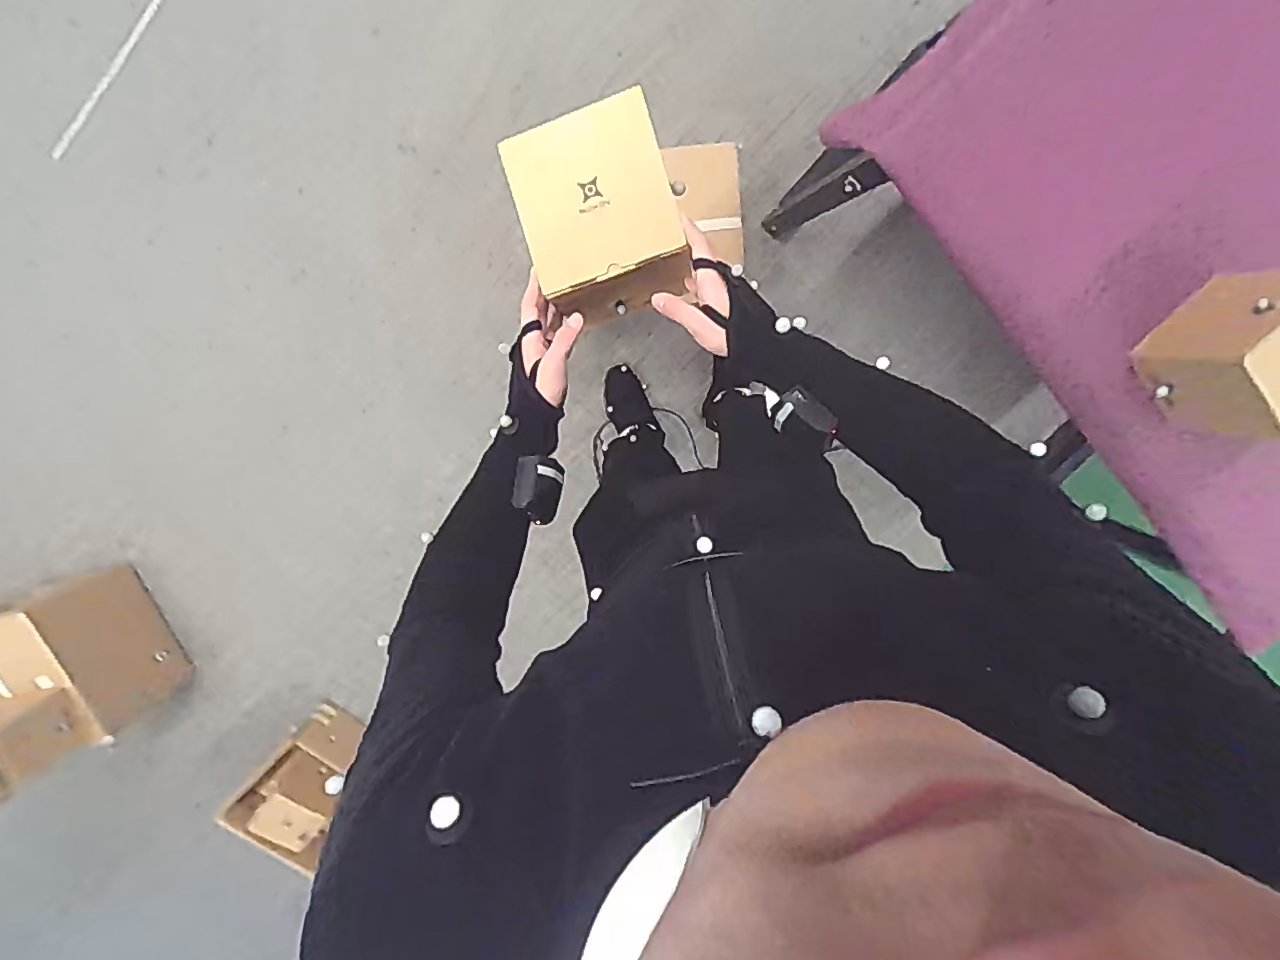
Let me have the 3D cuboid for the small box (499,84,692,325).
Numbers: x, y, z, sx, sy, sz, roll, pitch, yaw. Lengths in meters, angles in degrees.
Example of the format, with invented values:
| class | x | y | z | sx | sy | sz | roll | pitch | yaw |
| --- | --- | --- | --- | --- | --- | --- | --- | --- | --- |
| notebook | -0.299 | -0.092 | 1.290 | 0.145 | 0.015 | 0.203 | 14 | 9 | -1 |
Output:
| class | x | y | z | sx | sy | sz | roll | pitch | yaw |
| --- | --- | --- | --- | --- | --- | --- | --- | --- | --- |
| small box | -0.040 | -0.304 | 0.640 | 0.168 | 0.176 | 0.179 | -17 | 93 | 8 |

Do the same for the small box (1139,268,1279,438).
| class | x | y | z | sx | sy | sz | roll | pitch | yaw |
| --- | --- | --- | --- | --- | --- | --- | --- | --- | --- |
| small box | 0.882 | -0.184 | 0.762 | 0.179 | 0.176 | 0.168 | -44 | 103 | 8 |

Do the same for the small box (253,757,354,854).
| class | x | y | z | sx | sy | sz | roll | pitch | yaw |
| --- | --- | --- | --- | --- | --- | --- | --- | --- | --- |
| small box | -1.045 | 1.008 | 1.694 | 0.179 | 0.176 | 0.168 | 39 | 100 | -13 |

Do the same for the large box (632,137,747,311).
| class | x | y | z | sx | sy | sz | roll | pitch | yaw |
| --- | --- | --- | --- | --- | --- | --- | --- | --- | --- |
| large box | 0.011 | -0.573 | 1.288 | 0.408 | 0.320 | 0.320 | -7 | 107 | -2 |
